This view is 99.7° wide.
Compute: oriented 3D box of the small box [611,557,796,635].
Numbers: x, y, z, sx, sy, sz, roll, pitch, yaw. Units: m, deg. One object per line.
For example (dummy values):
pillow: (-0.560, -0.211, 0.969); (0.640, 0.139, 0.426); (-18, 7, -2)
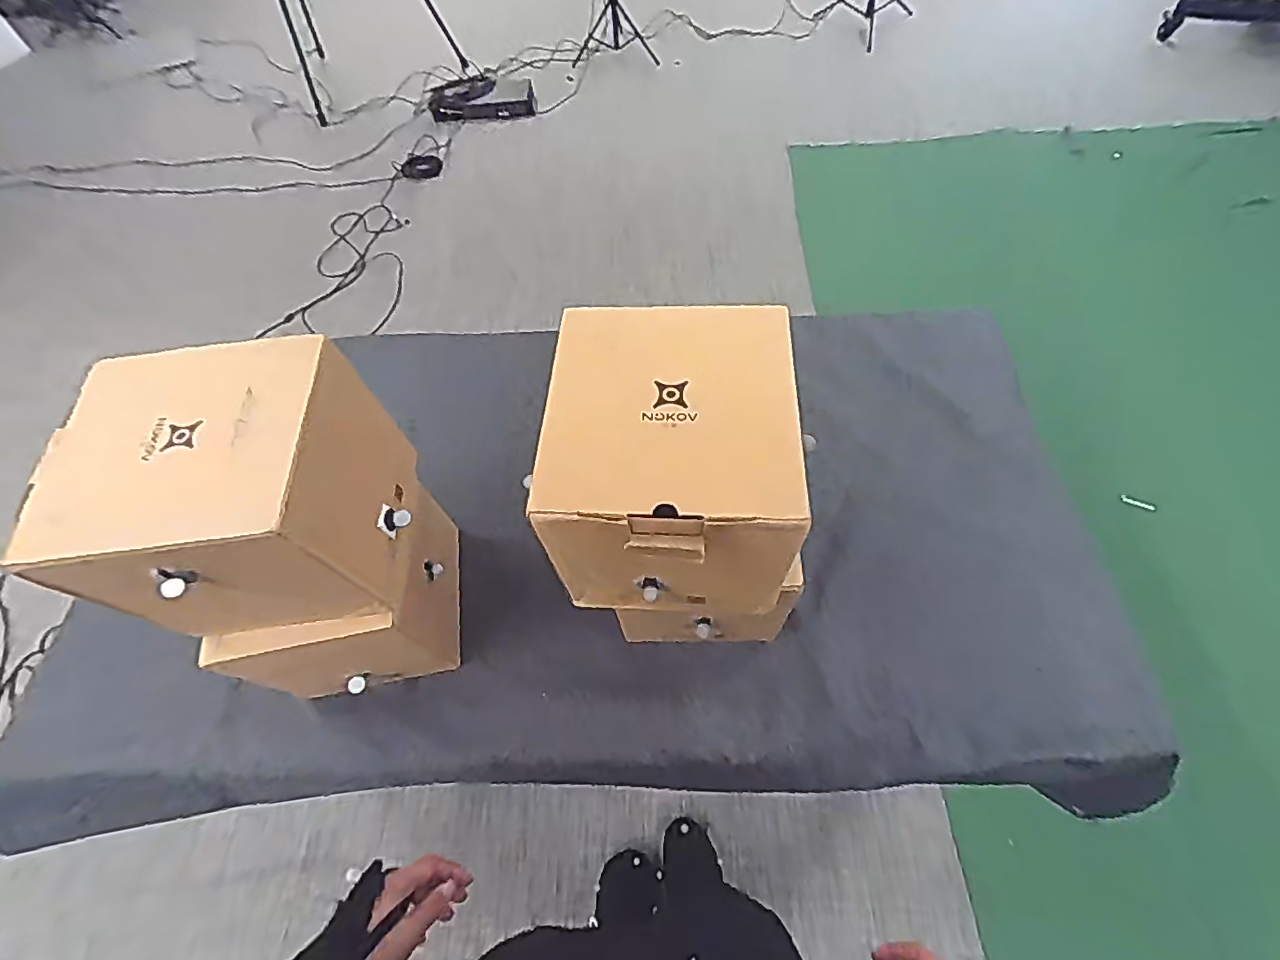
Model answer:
small box: (0.059, 0.061, 0.571); (0.168, 0.176, 0.179); (-2, 60, 3)

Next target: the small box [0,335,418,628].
small box: (-0.303, 0.011, 0.433); (0.179, 0.176, 0.168); (-7, 61, -2)

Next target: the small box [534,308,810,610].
small box: (0.026, -0.011, 0.426); (0.168, 0.176, 0.179); (1, 60, 4)

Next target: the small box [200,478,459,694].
small box: (-0.298, 0.107, 0.565); (0.168, 0.176, 0.179); (-11, 60, -3)
